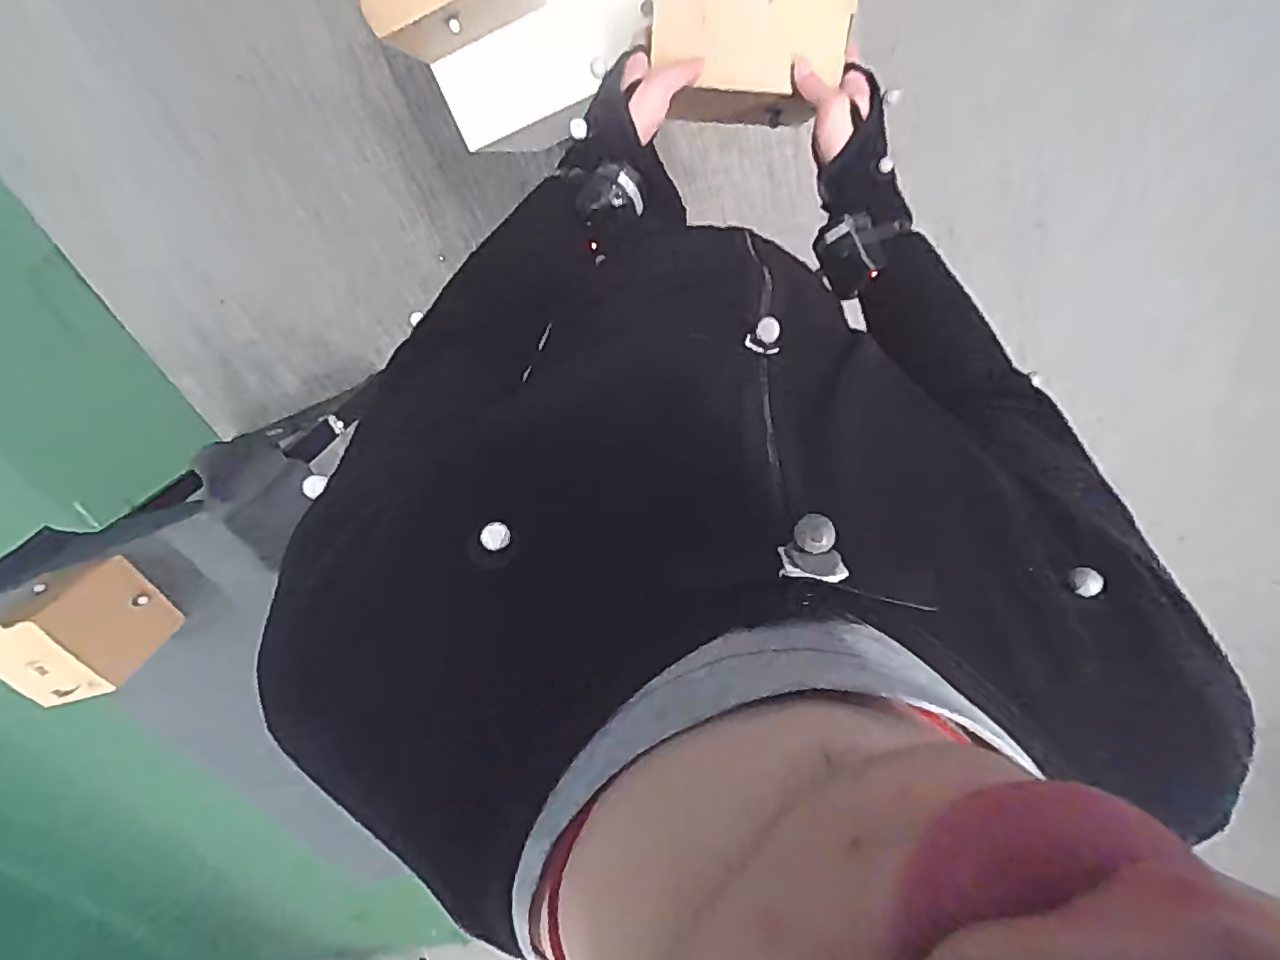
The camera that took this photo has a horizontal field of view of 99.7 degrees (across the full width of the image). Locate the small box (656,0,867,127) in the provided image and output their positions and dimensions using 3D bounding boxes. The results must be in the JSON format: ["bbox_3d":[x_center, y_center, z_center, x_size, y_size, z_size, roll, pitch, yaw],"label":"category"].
[{"bbox_3d":[0.108,-0.453,0.519,0.179,0.176,0.168,4,114,1],"label":"small box"}]

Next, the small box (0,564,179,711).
[{"bbox_3d":[-0.983,0.265,0.943,0.168,0.176,0.179,-15,121,9],"label":"small box"}]

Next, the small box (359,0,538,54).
[{"bbox_3d":[-0.216,-0.585,0.567,0.179,0.176,0.168,-19,120,9],"label":"small box"}]
